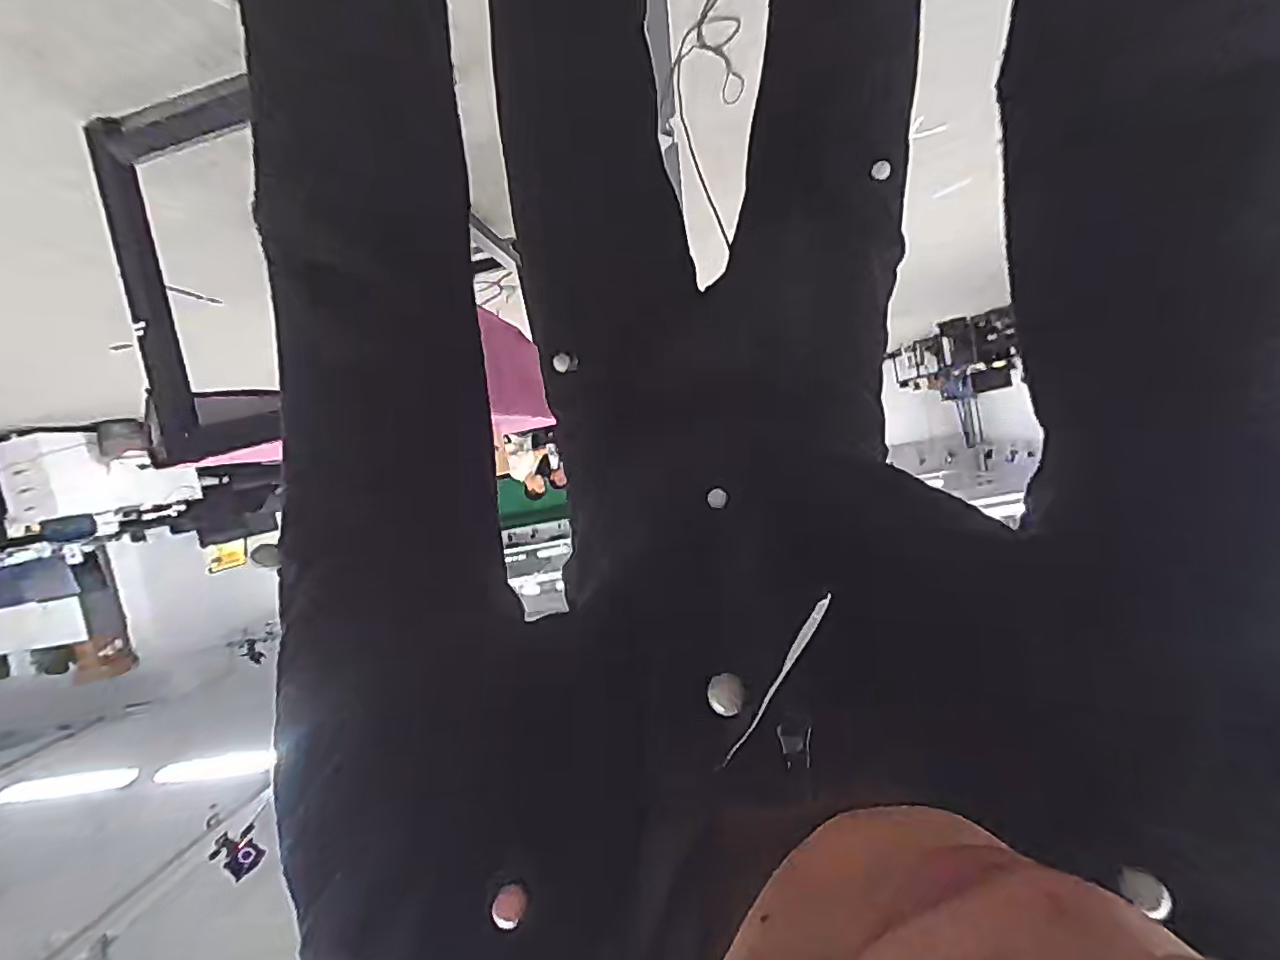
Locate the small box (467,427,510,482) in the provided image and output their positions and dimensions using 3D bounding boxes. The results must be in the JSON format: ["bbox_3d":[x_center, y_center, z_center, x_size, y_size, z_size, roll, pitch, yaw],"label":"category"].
[{"bbox_3d":[-0.574,-0.087,1.862,0.179,0.176,0.168,-11,-176,10],"label":"small box"}]
